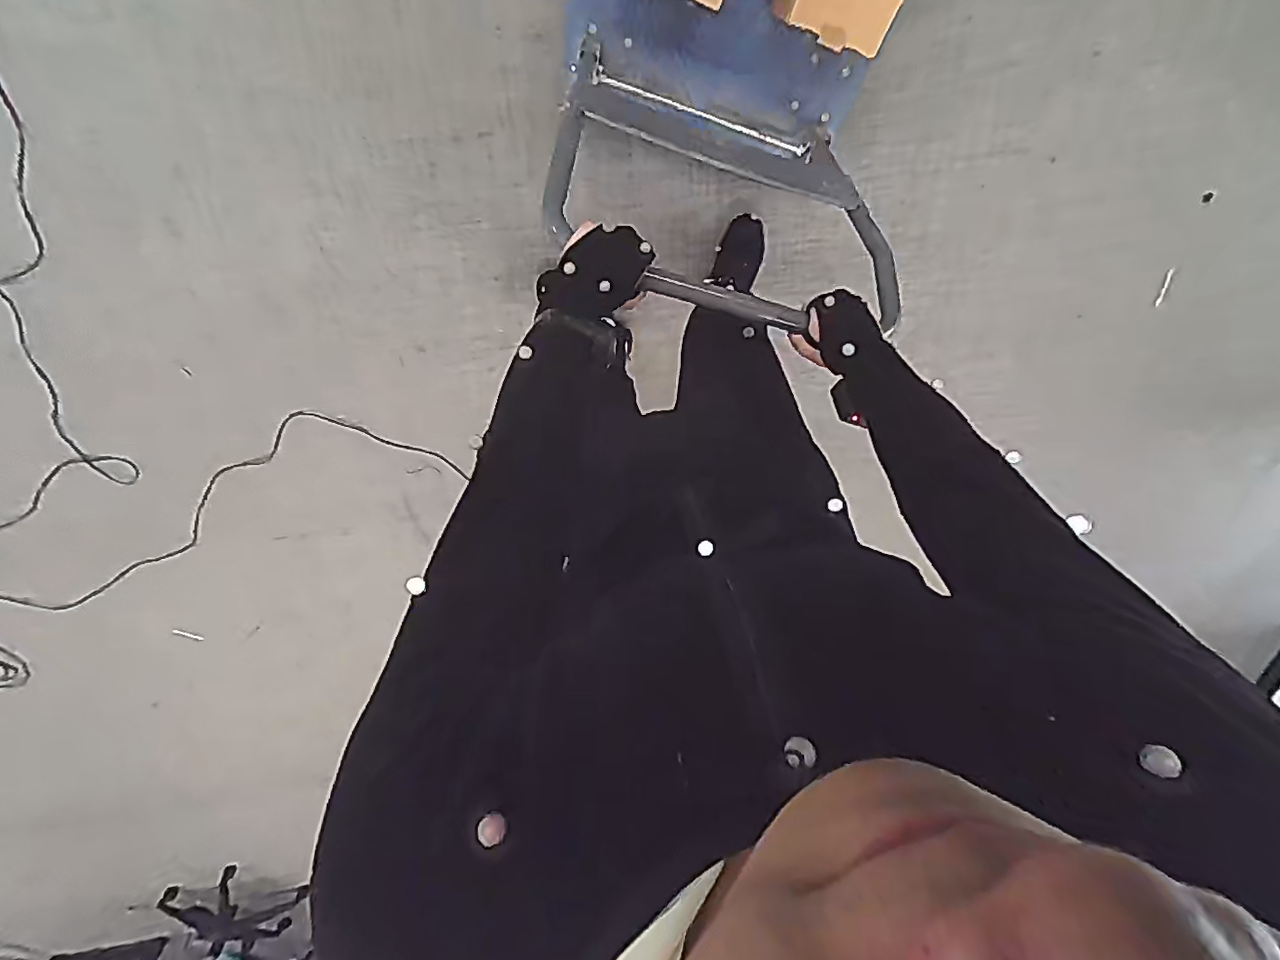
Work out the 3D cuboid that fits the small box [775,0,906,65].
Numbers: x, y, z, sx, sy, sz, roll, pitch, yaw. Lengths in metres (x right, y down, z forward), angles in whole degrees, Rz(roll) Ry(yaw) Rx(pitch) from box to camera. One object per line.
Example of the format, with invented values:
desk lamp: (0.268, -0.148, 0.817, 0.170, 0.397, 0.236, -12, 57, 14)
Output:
small box: (0.344, -0.837, 0.900, 0.168, 0.176, 0.179, 12, 134, -13)
